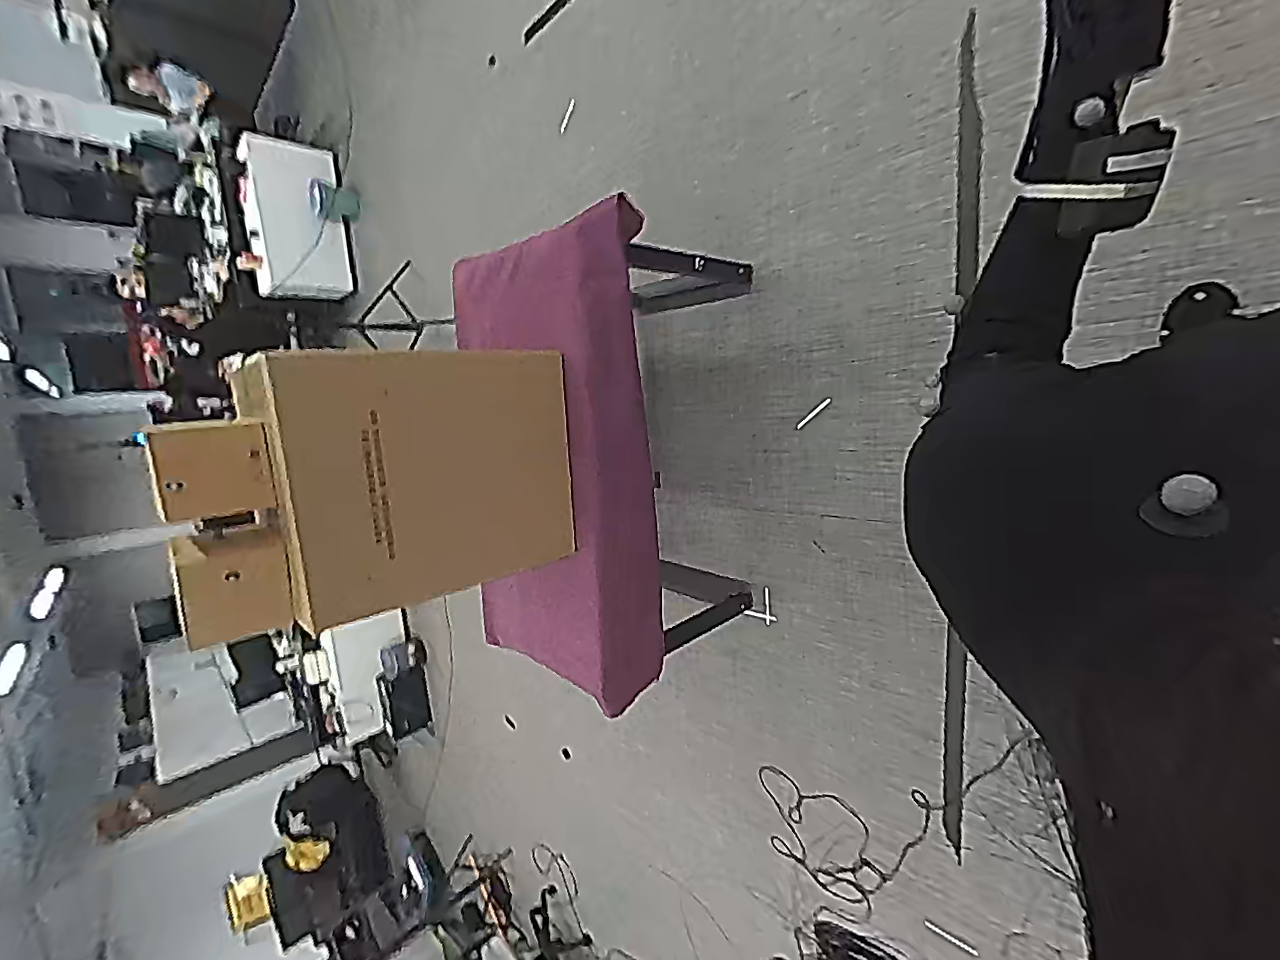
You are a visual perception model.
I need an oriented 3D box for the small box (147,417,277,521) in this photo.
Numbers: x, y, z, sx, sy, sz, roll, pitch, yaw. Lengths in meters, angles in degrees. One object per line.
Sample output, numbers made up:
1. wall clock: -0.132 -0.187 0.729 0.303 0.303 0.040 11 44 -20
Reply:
1. small box: -0.813 -0.029 1.033 0.179 0.176 0.168 8 106 47
